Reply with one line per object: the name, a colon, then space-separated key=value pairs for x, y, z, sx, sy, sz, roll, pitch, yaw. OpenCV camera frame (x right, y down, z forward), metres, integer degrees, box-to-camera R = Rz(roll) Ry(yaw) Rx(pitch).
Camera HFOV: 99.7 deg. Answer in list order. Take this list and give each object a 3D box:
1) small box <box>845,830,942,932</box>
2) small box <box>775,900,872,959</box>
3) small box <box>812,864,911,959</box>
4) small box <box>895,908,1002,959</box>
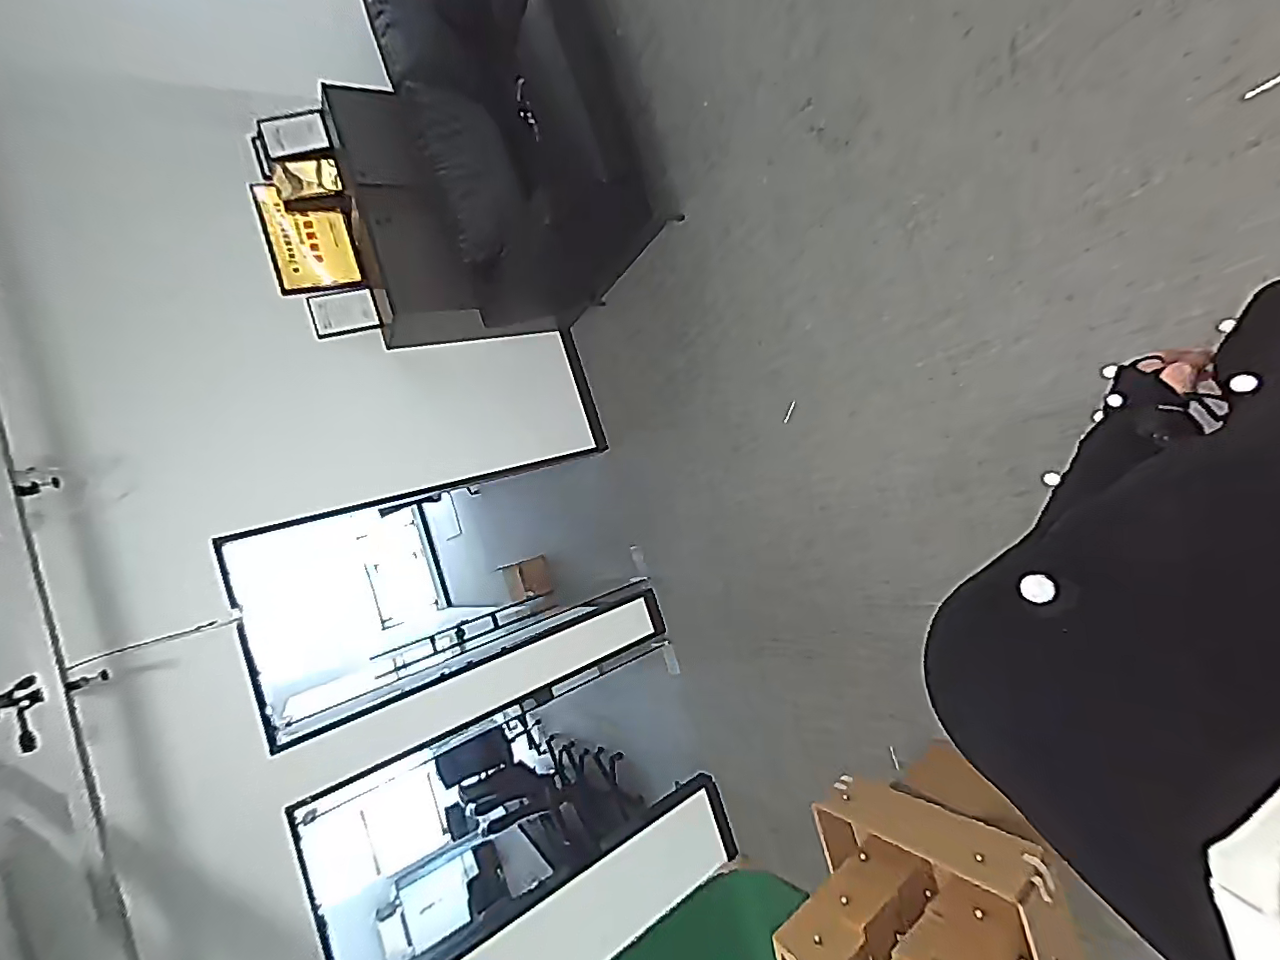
small box: x=0.748 y=1.181 z=1.598 sx=0.179 sy=0.176 sz=0.168 roll=-18 pitch=89 yaw=56
small box: x=0.487 y=1.262 z=1.420 sx=0.179 sy=0.176 sz=0.168 roll=-3 pitch=101 yaw=55
small box: x=0.620 y=1.219 z=1.507 sx=0.179 sy=0.176 sz=0.168 roll=-19 pitch=87 yaw=56
small box: x=0.746 y=1.192 z=1.295 sx=0.179 sy=0.176 sz=0.168 roll=3 pitch=105 yaw=58
